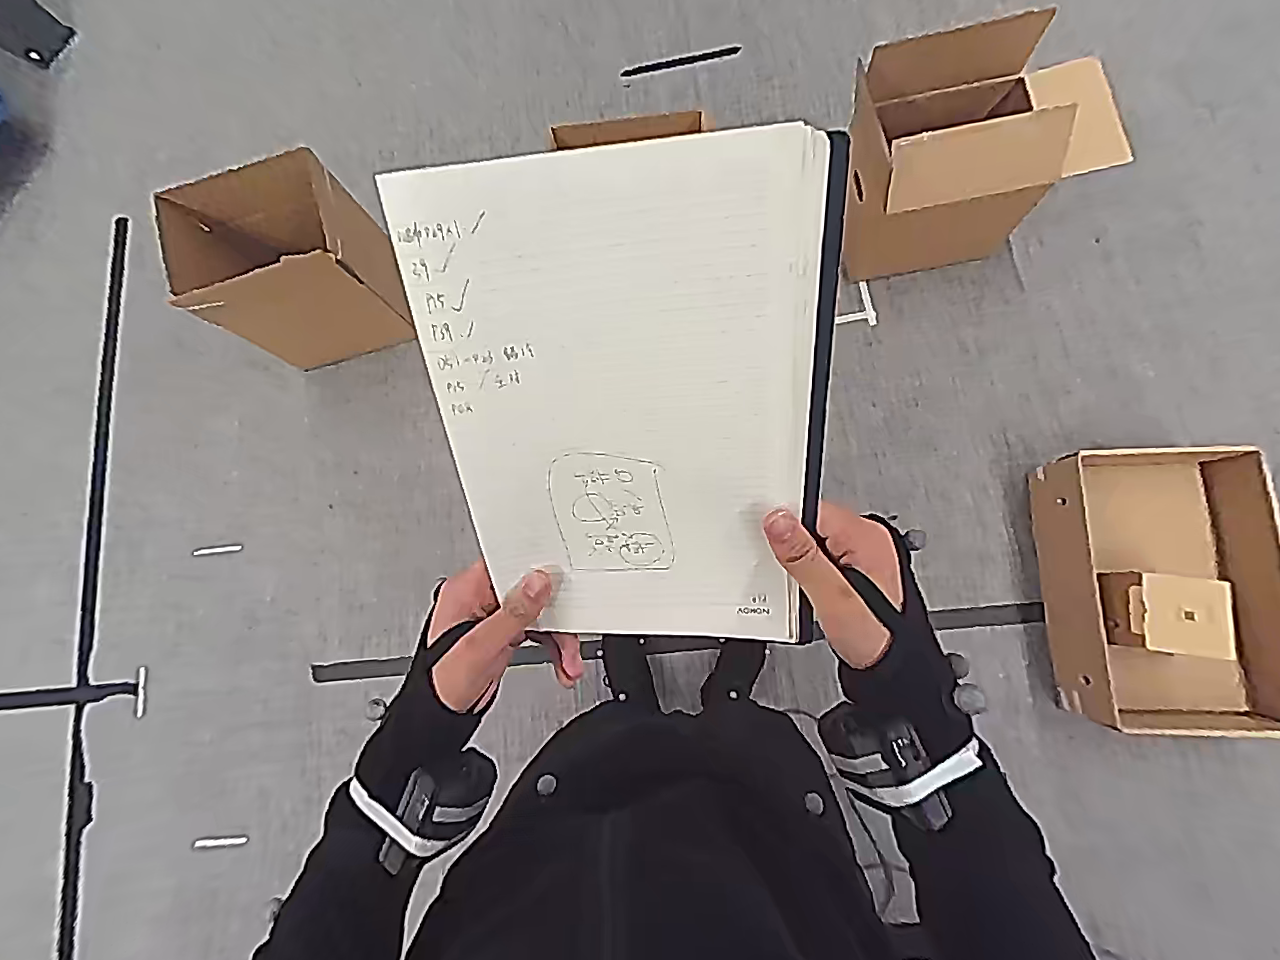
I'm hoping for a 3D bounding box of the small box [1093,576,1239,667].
[{"bbox_3d":[1.163,0.312,1.212,0.179,0.176,0.168,7,80,8],"label":"small box"}]
